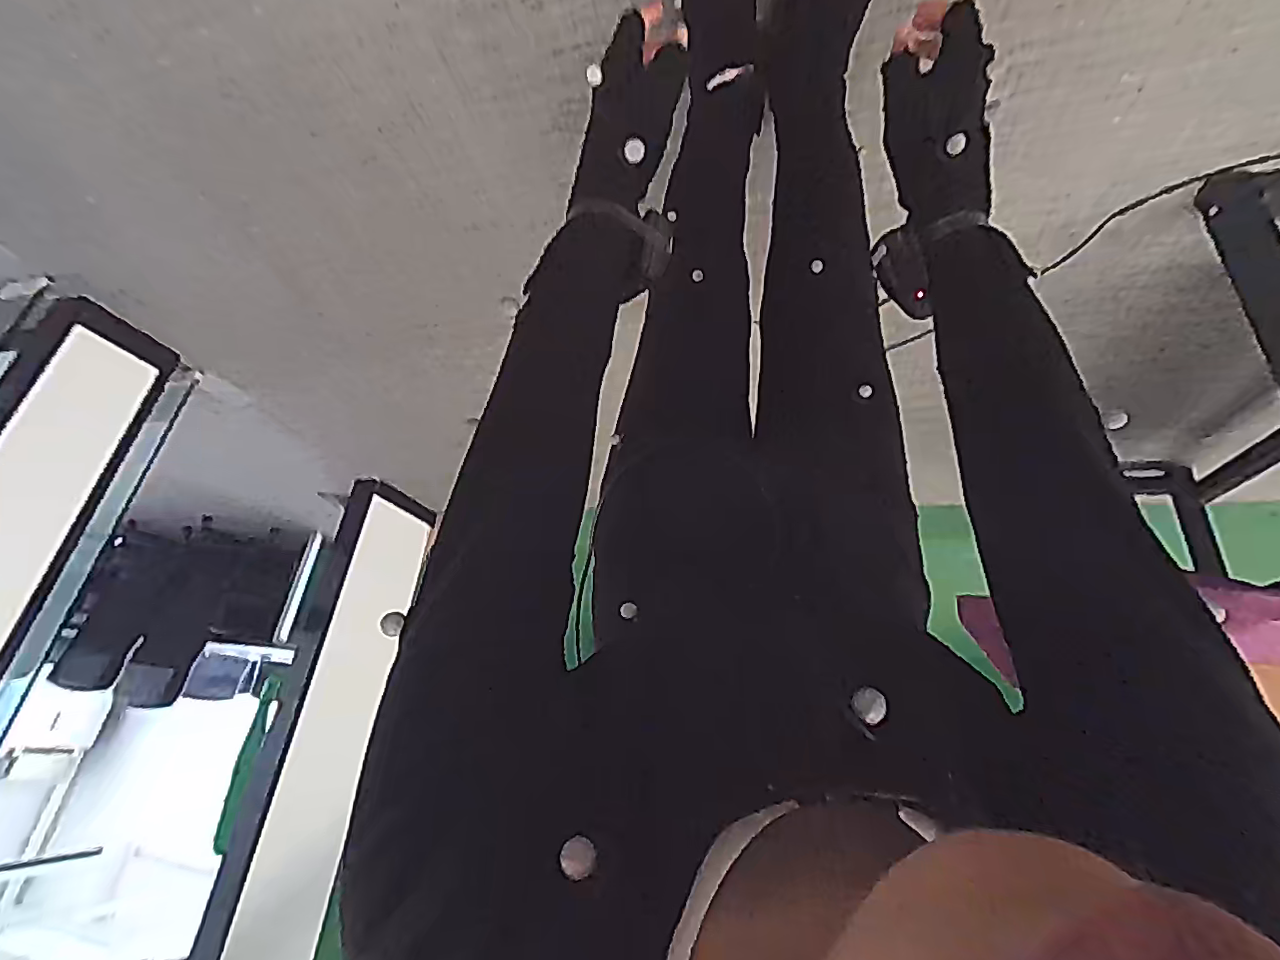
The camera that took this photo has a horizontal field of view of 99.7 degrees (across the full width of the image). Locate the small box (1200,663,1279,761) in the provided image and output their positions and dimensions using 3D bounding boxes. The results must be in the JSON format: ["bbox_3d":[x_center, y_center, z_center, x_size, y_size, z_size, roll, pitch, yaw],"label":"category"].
[{"bbox_3d":[1.237,0.447,1.025,0.179,0.176,0.168,0,155,14],"label":"small box"}]
